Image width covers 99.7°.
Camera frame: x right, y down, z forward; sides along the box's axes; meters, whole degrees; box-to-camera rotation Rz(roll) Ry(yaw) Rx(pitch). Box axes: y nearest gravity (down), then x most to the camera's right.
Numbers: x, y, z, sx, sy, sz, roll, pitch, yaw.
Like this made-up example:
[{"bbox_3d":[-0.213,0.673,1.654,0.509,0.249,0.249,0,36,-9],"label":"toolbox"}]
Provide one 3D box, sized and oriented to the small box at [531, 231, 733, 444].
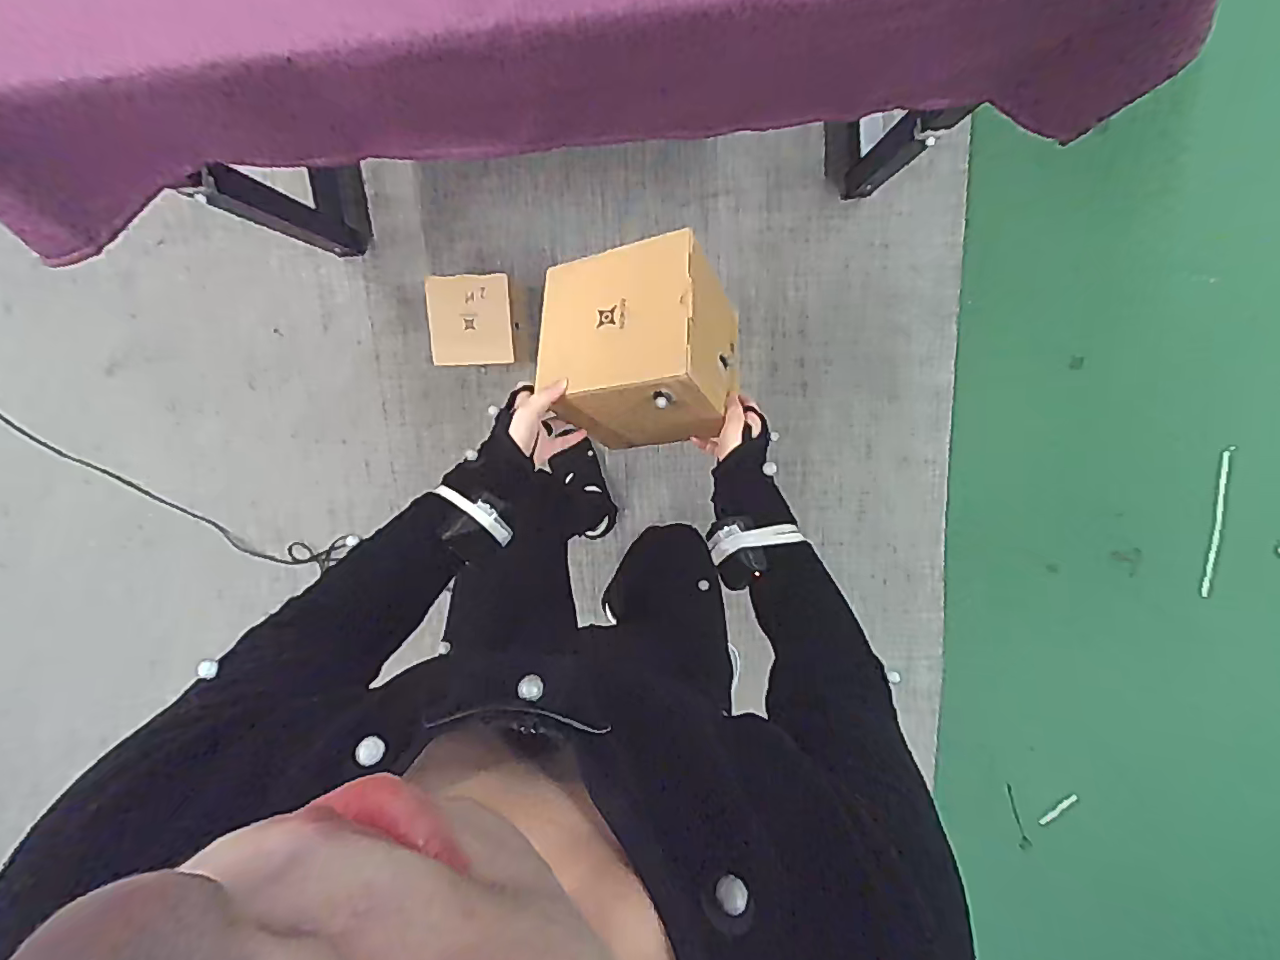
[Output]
[{"bbox_3d":[0.000,-0.149,0.633,0.179,0.176,0.168,-5,72,24],"label":"small box"}]
